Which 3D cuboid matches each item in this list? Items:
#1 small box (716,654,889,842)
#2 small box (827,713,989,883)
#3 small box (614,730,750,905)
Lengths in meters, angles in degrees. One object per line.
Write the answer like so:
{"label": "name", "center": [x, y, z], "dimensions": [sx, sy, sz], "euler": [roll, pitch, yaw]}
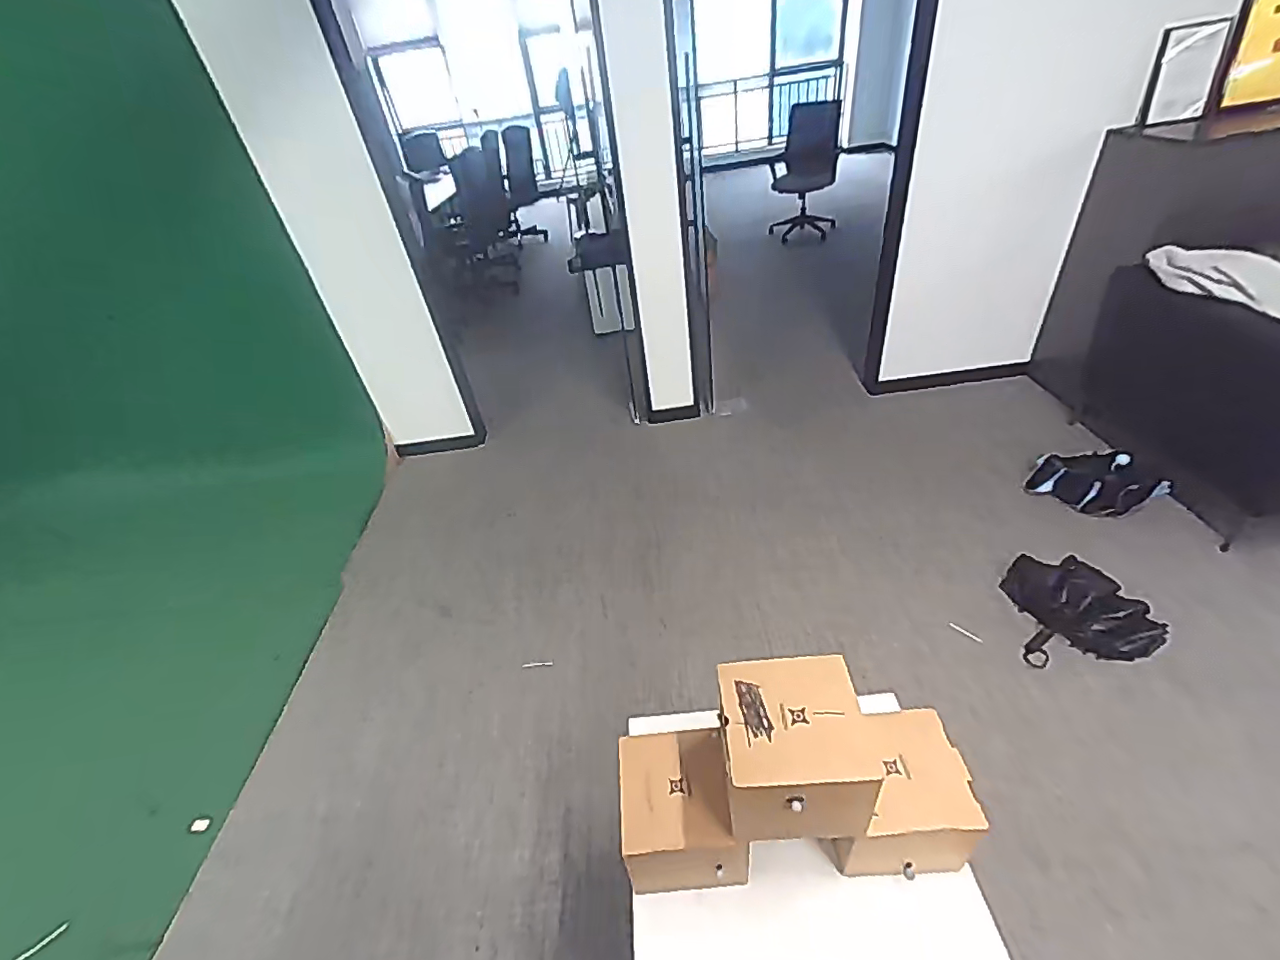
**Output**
{"label": "small box", "center": [0.199, 0.355, 0.713], "dimensions": [0.179, 0.176, 0.168], "euler": [-4, 37, 2]}
{"label": "small box", "center": [0.369, 0.474, 0.806], "dimensions": [0.179, 0.176, 0.168], "euler": [-6, 37, 2]}
{"label": "small box", "center": [0.057, 0.503, 0.809], "dimensions": [0.179, 0.176, 0.168], "euler": [-7, 36, -1]}
